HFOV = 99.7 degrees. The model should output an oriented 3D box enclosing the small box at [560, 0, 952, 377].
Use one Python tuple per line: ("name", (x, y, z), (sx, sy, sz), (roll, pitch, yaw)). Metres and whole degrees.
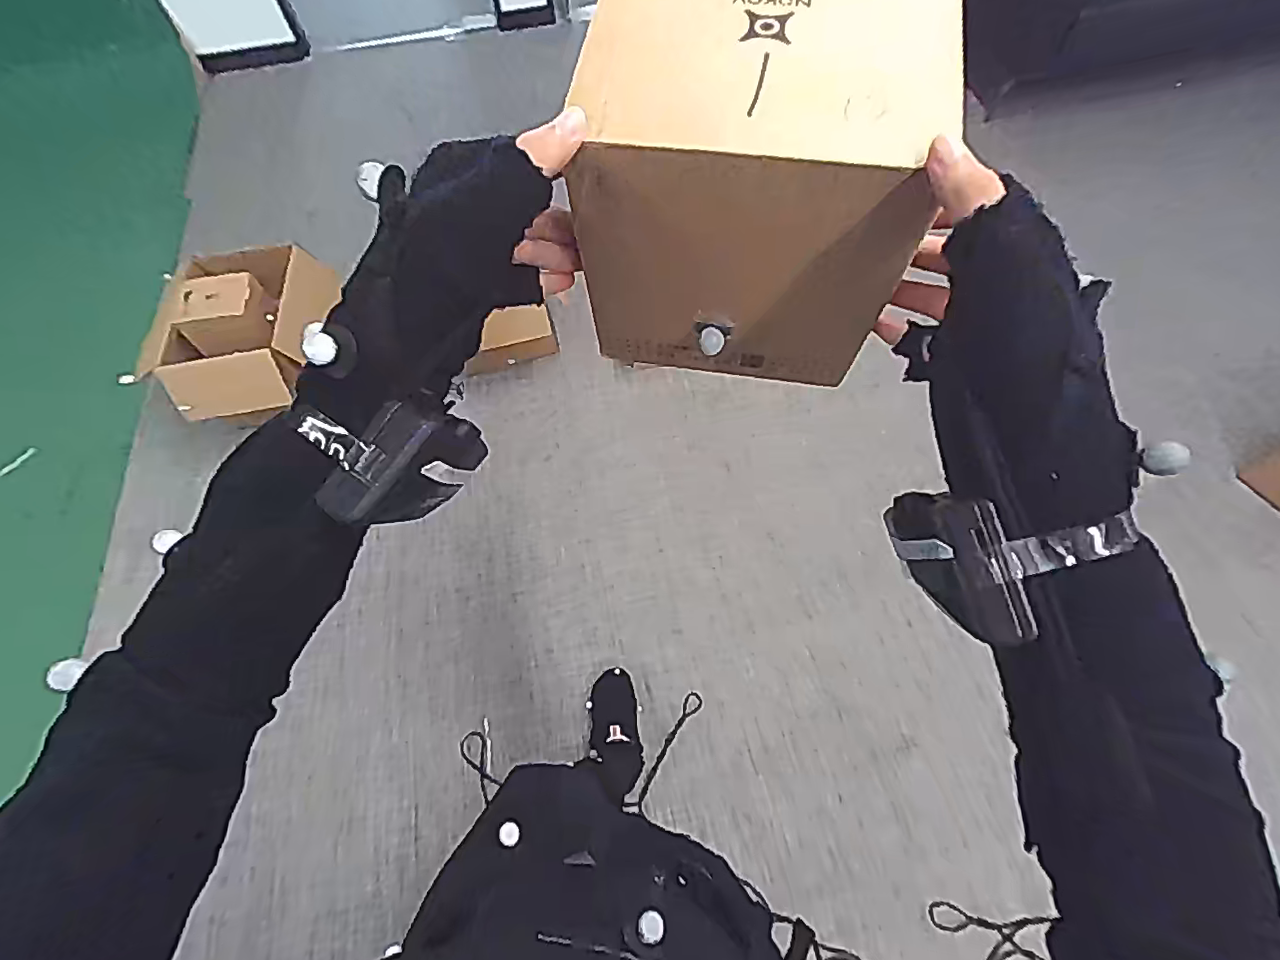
("small box", (0.063, -0.188, 0.327), (0.168, 0.176, 0.179), (9, 71, 7))
